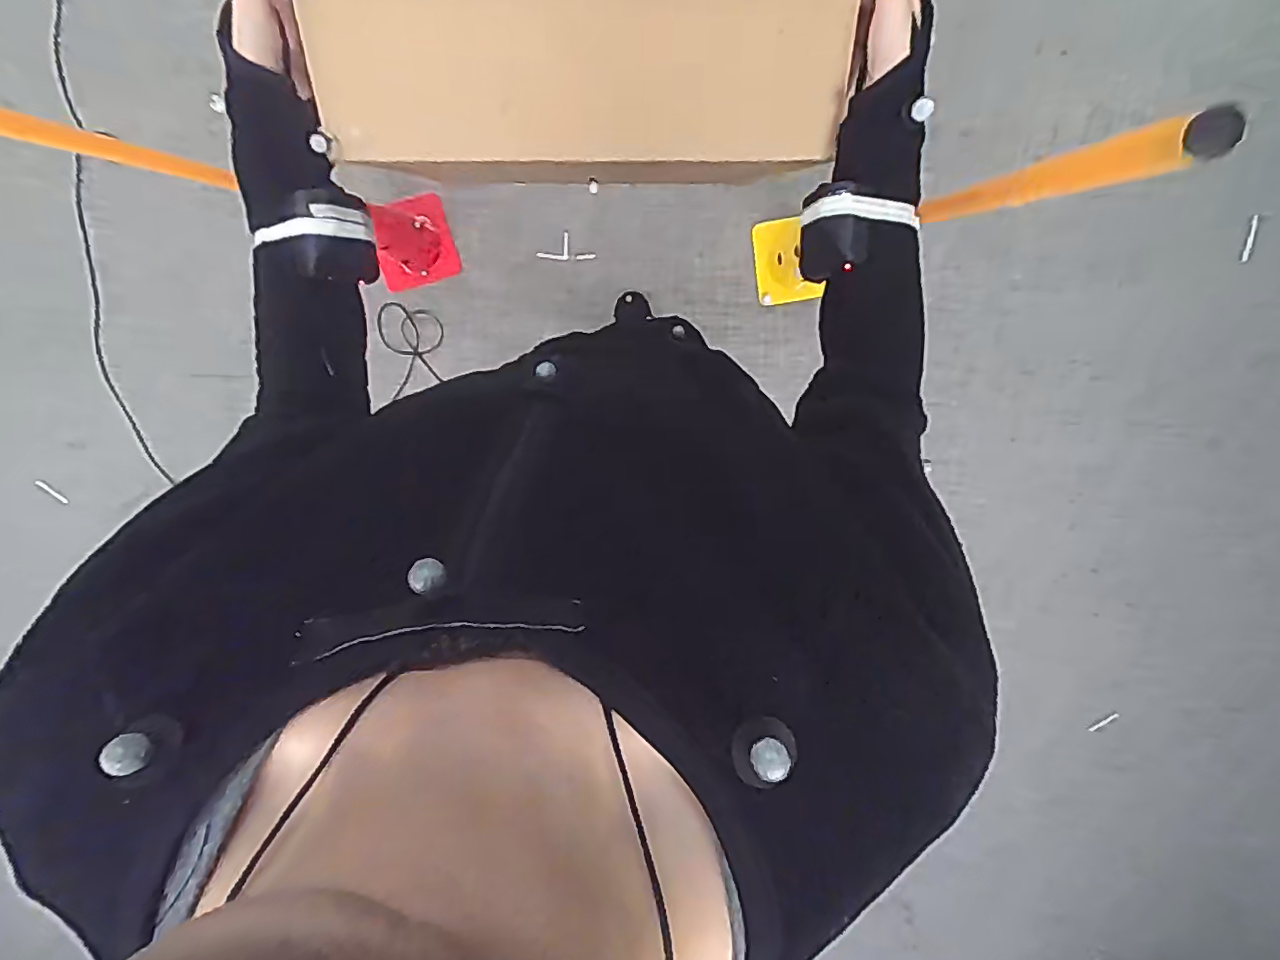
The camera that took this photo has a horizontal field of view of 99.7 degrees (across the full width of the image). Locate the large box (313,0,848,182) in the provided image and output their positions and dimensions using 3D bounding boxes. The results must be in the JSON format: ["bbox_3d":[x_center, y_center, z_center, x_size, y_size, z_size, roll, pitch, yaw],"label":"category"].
[{"bbox_3d":[-0.046,-0.466,0.512,0.408,0.320,0.320,-2,115,-3],"label":"large box"}]
